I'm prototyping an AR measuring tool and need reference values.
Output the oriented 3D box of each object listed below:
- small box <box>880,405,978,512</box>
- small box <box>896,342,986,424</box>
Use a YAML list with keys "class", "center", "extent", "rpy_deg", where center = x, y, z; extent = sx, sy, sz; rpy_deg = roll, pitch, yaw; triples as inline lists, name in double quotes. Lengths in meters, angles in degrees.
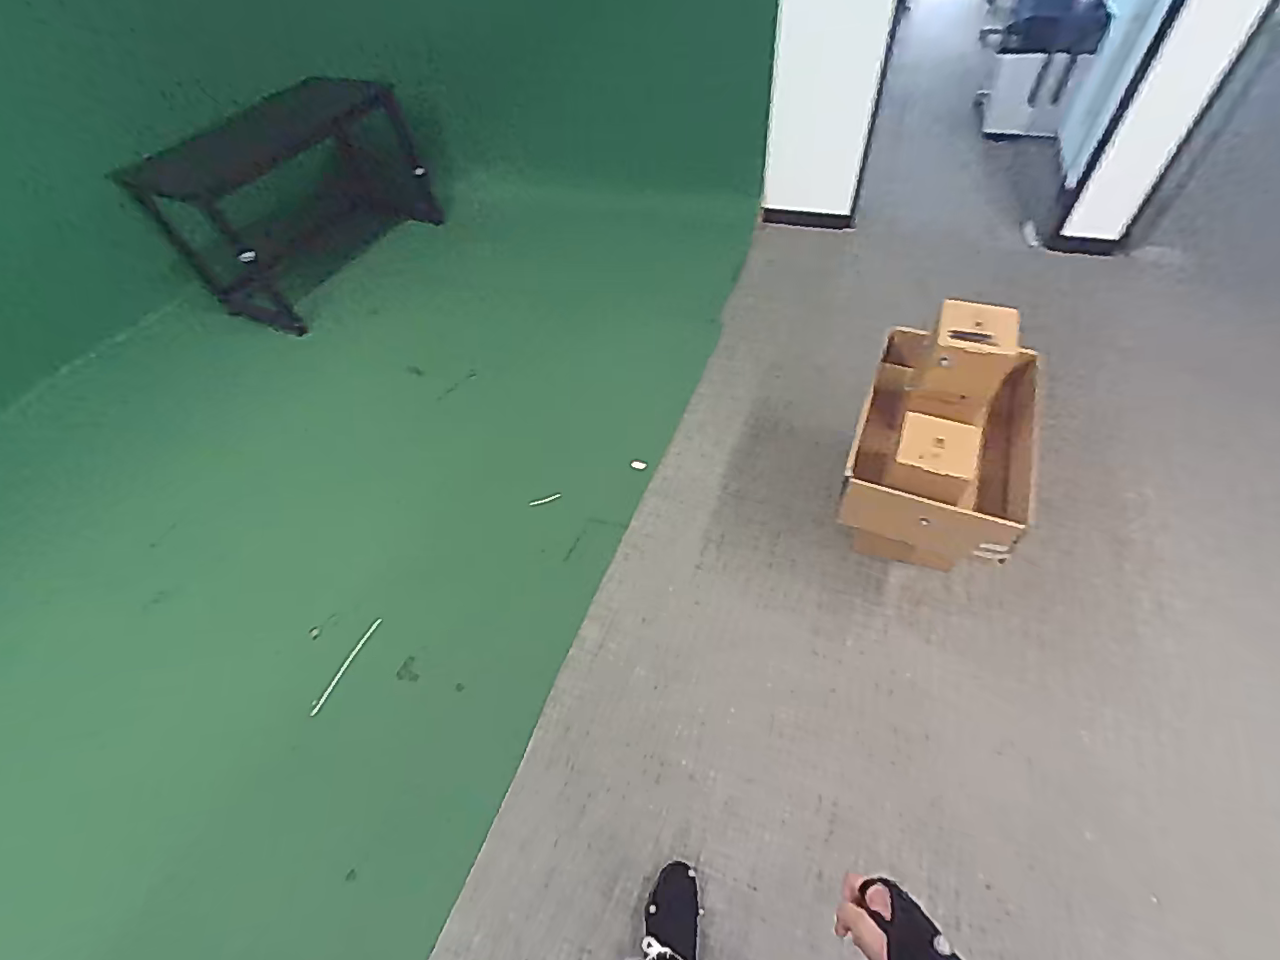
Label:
- class: "small box"
  center: [0.707, -0.053, 1.335]
  extent: [0.168, 0.176, 0.179]
  rpy_deg: [17, 57, 19]
- class: "small box"
  center: [0.813, -0.241, 1.470]
  extent: [0.168, 0.176, 0.179]
  rpy_deg: [16, 59, 18]
